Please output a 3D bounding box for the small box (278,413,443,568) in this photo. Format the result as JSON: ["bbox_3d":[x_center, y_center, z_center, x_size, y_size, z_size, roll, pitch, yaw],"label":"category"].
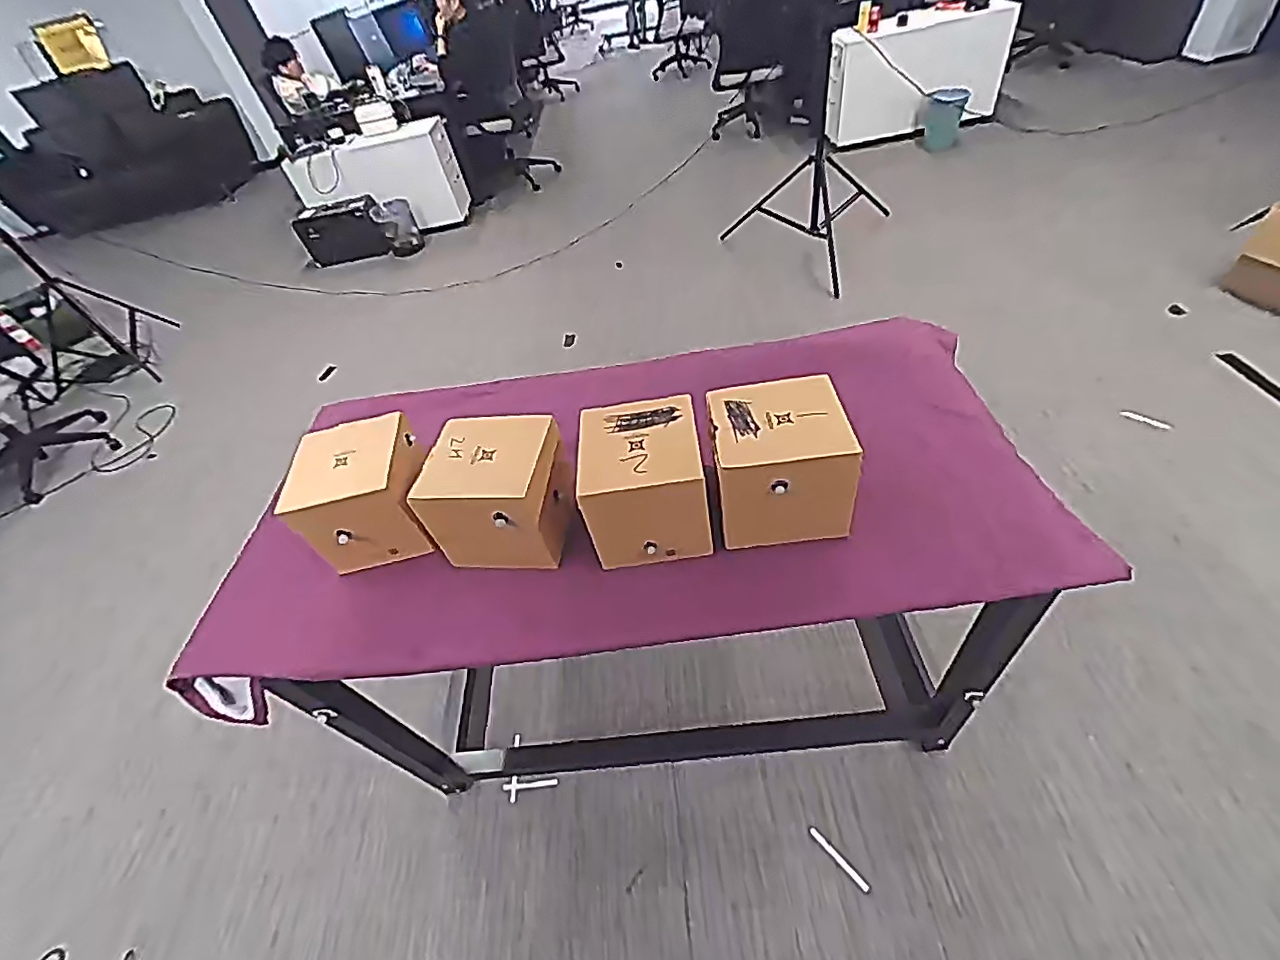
[{"bbox_3d":[-0.438,0.025,0.882,0.168,0.176,0.179,-14,47,0],"label":"small box"}]
